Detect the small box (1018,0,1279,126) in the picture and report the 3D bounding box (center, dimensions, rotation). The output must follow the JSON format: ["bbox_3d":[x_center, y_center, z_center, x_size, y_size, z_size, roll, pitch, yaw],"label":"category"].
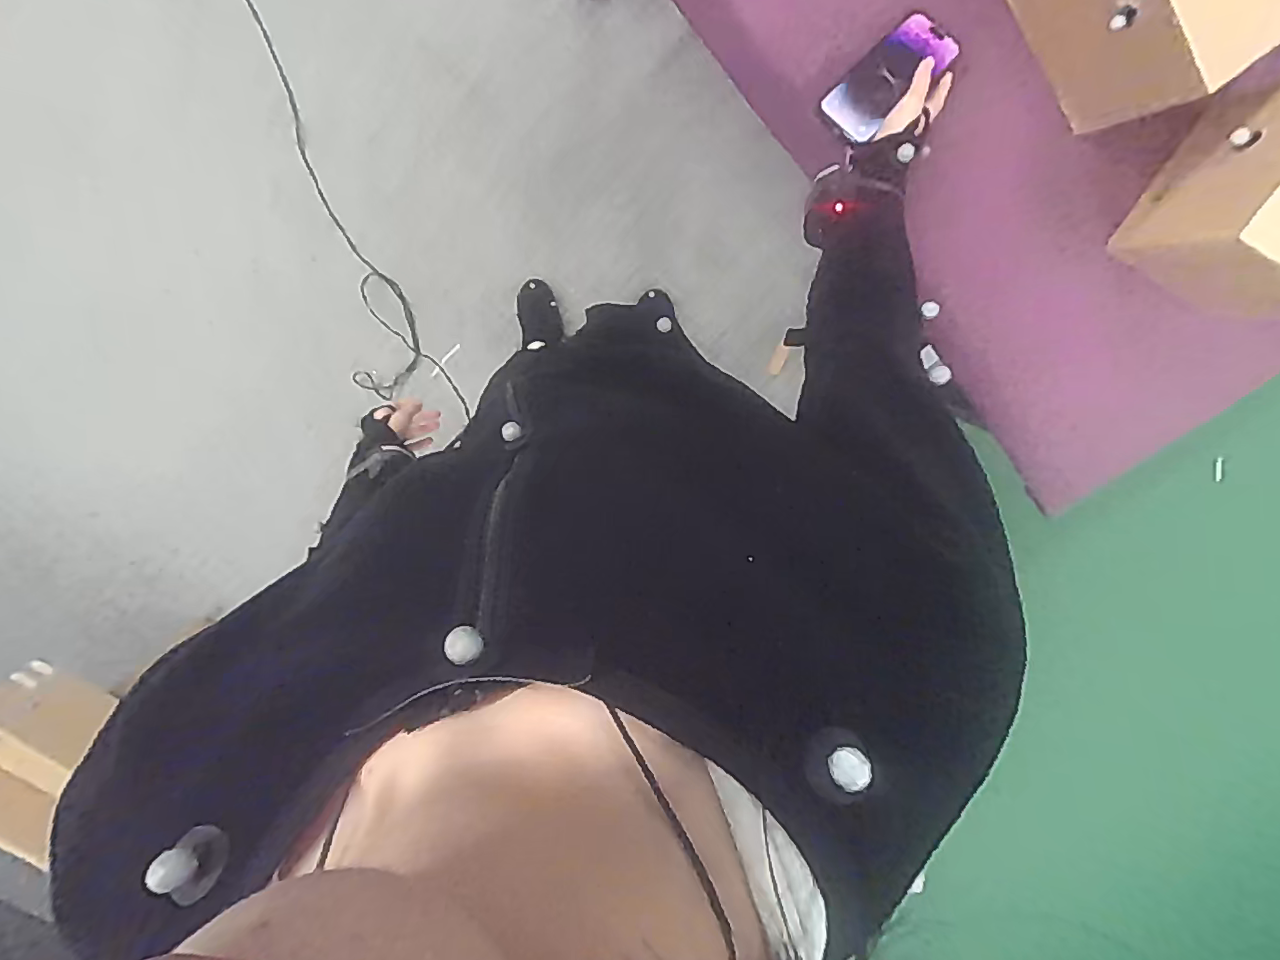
[{"bbox_3d":[0.493,-0.468,0.490,0.168,0.176,0.179,-37,105,15],"label":"small box"}]

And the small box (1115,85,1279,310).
[{"bbox_3d":[0.661,-0.282,0.552,0.179,0.176,0.168,26,109,-8],"label":"small box"}]
